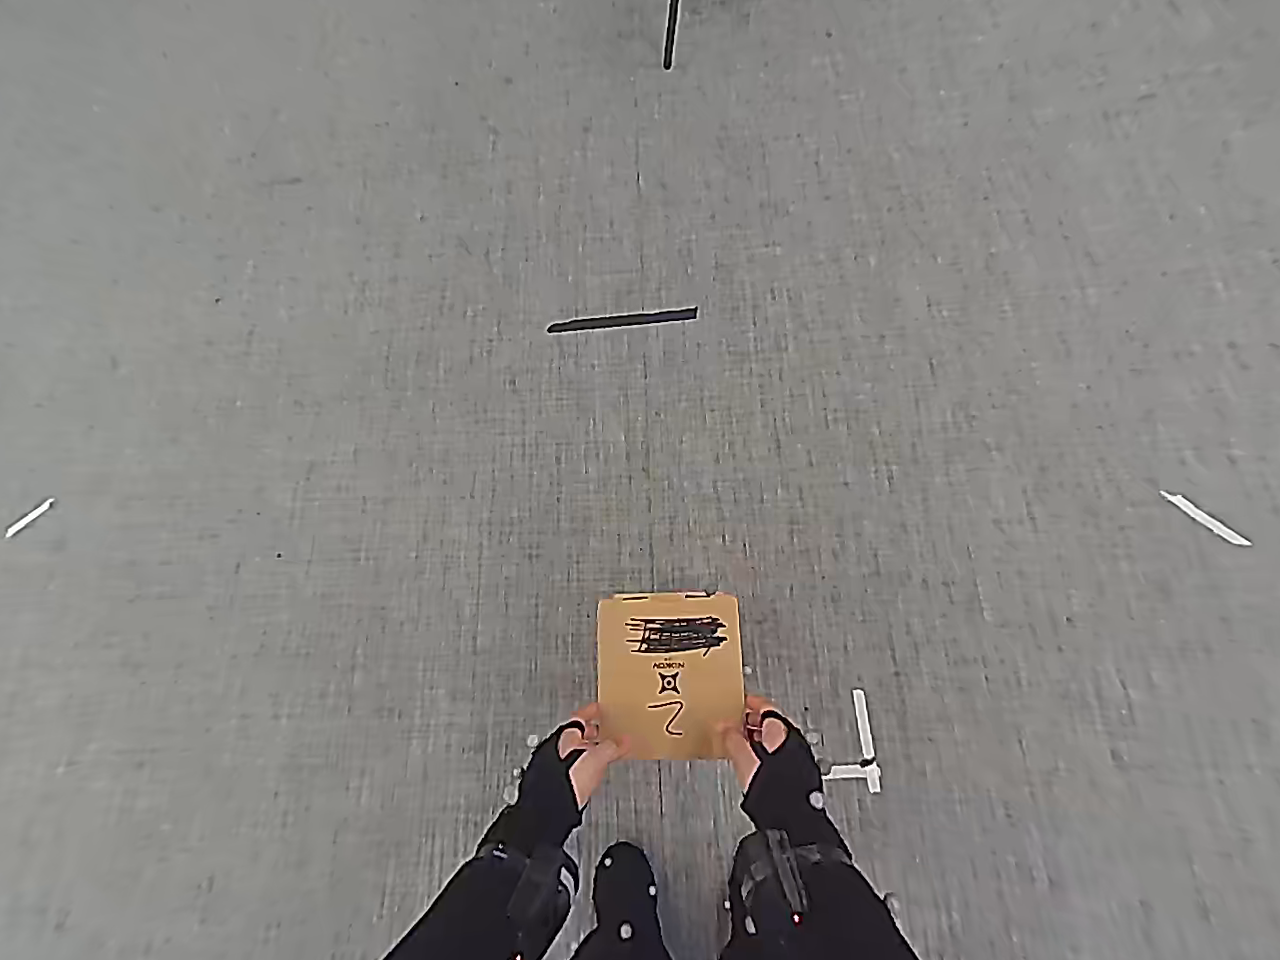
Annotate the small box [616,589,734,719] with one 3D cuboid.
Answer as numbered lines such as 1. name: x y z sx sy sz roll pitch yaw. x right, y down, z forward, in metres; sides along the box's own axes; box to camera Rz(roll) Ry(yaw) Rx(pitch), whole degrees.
1. small box: 0.054 0.269 0.844 0.168 0.176 0.179 -3 73 5
